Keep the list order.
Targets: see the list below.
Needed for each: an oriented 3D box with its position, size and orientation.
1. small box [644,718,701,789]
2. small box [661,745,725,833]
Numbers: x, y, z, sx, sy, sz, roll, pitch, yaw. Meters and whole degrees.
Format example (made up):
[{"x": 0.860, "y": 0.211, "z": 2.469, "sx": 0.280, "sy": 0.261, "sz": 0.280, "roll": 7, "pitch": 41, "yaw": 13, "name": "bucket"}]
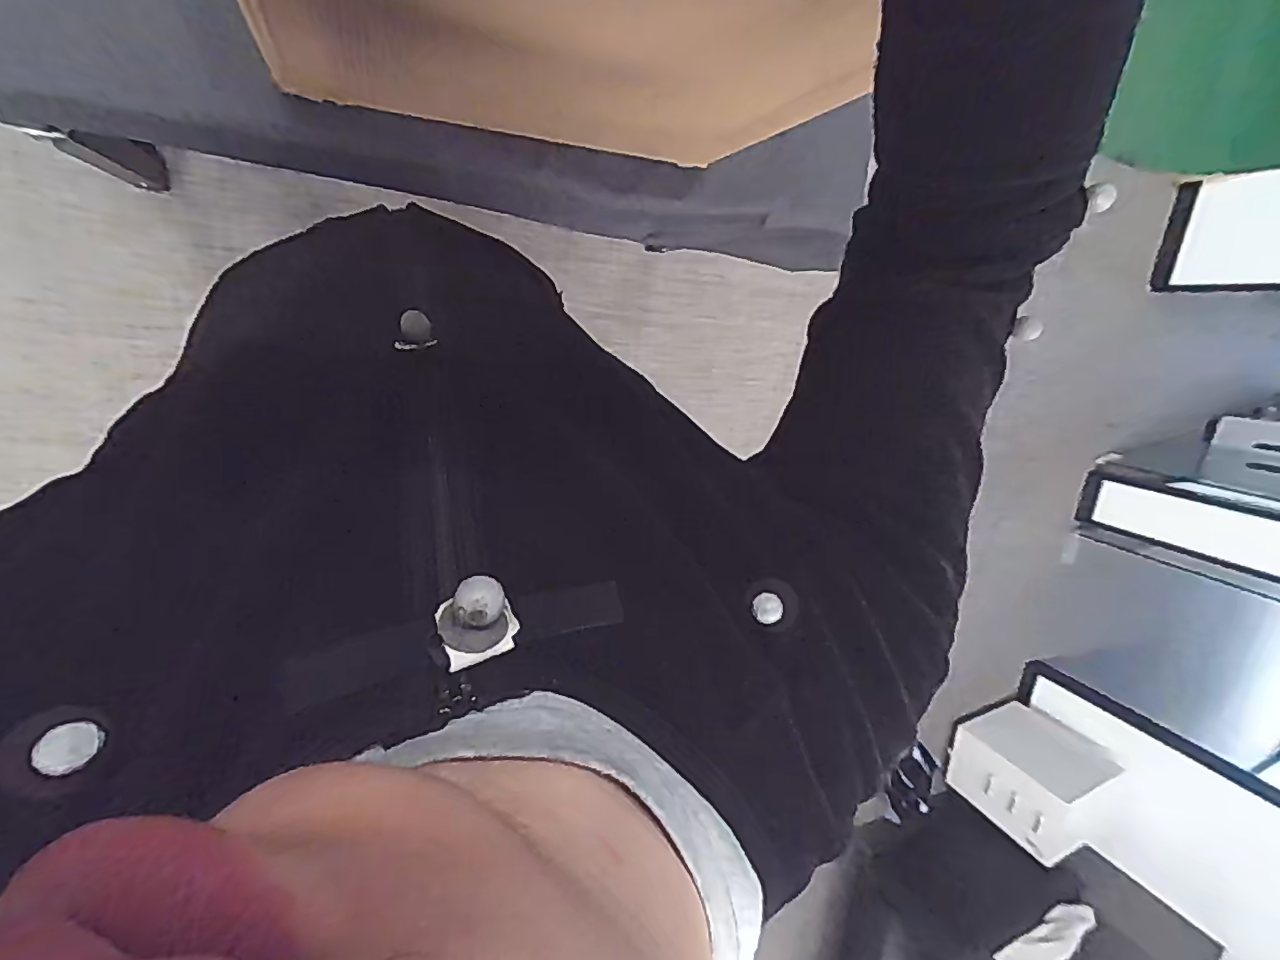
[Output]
[{"x": 0.126, "y": 1.038, "z": 2.054, "sx": 0.168, "sy": 0.176, "sz": 0.179, "roll": -16, "pitch": 114, "yaw": -19, "name": "small box"}, {"x": 0.185, "y": 1.084, "z": 1.907, "sx": 0.168, "sy": 0.176, "sz": 0.179, "roll": -15, "pitch": 111, "yaw": -20, "name": "small box"}]
